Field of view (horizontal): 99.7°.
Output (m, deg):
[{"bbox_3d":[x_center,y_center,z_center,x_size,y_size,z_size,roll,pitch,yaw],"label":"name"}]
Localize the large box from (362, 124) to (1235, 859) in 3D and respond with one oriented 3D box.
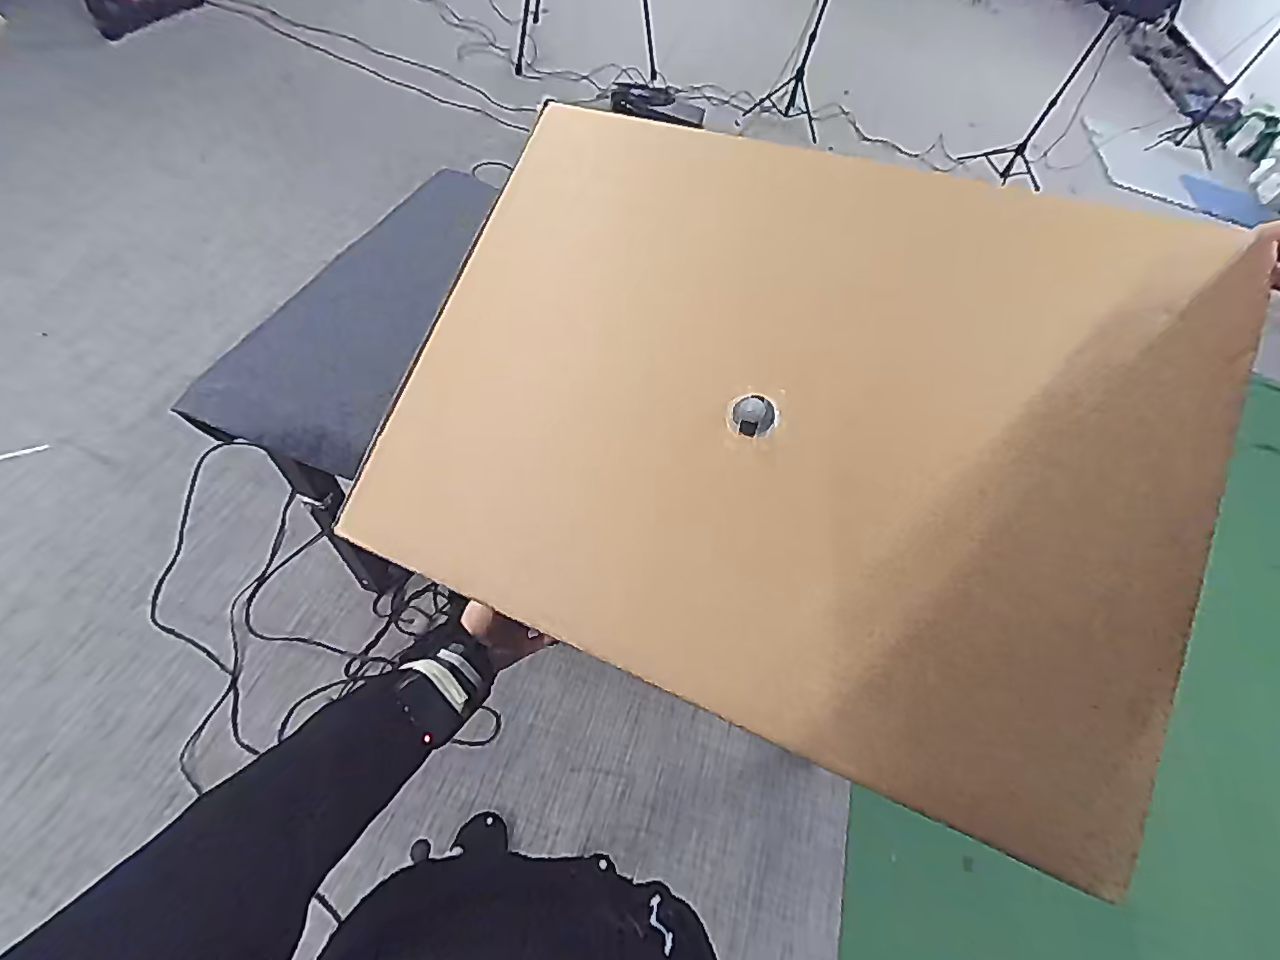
[{"bbox_3d":[0.091,-0.001,0.435,0.408,0.320,0.320,19,81,14],"label":"large box"}]
